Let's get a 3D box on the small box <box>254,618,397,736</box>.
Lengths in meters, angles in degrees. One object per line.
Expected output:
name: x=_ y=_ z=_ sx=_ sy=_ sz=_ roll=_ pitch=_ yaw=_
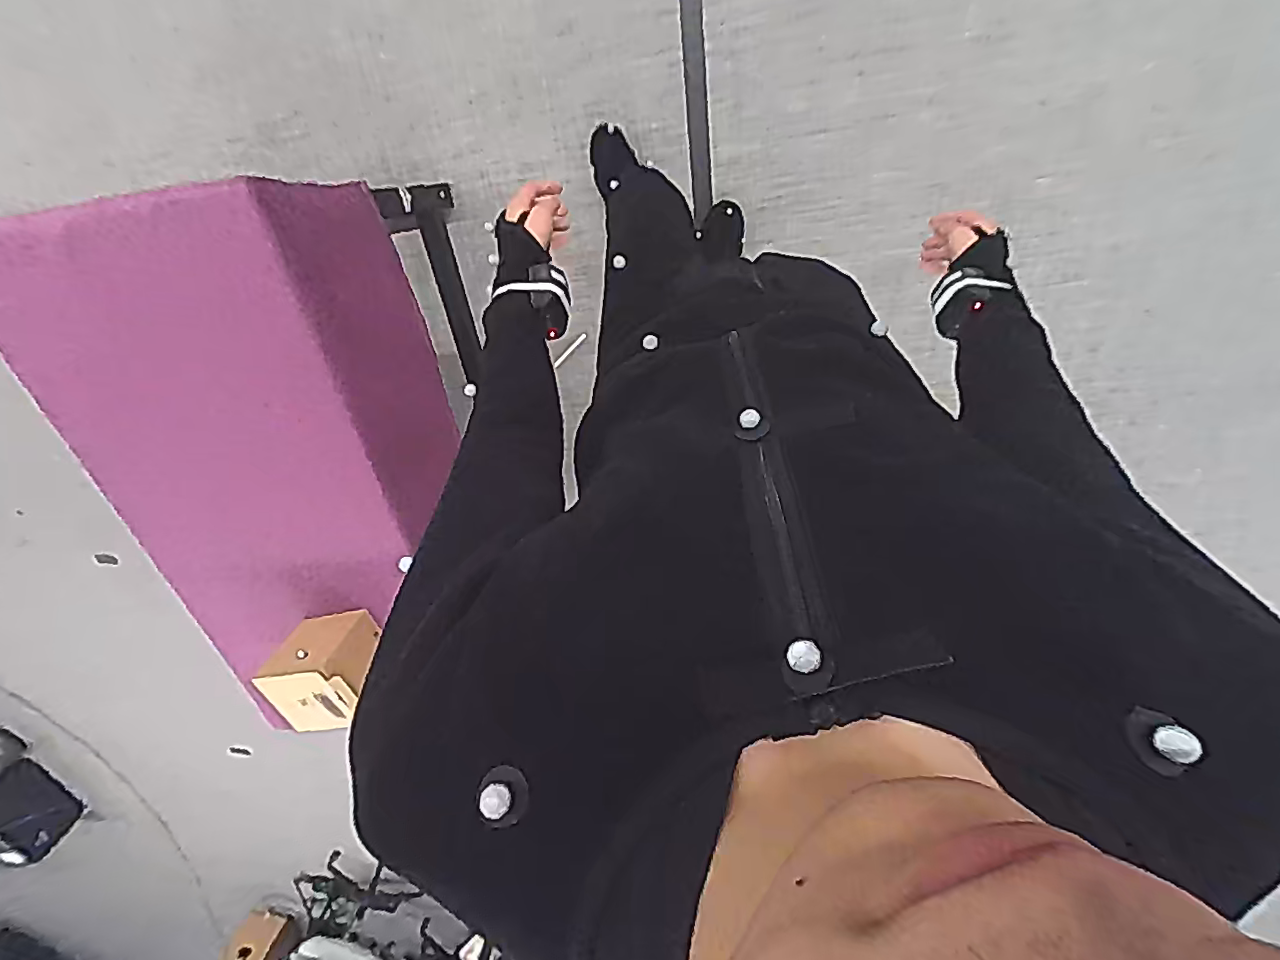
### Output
small box: x=-0.653 y=0.415 z=1.155 sx=0.179 sy=0.176 sz=0.168 roll=-13 pitch=117 yaw=14
